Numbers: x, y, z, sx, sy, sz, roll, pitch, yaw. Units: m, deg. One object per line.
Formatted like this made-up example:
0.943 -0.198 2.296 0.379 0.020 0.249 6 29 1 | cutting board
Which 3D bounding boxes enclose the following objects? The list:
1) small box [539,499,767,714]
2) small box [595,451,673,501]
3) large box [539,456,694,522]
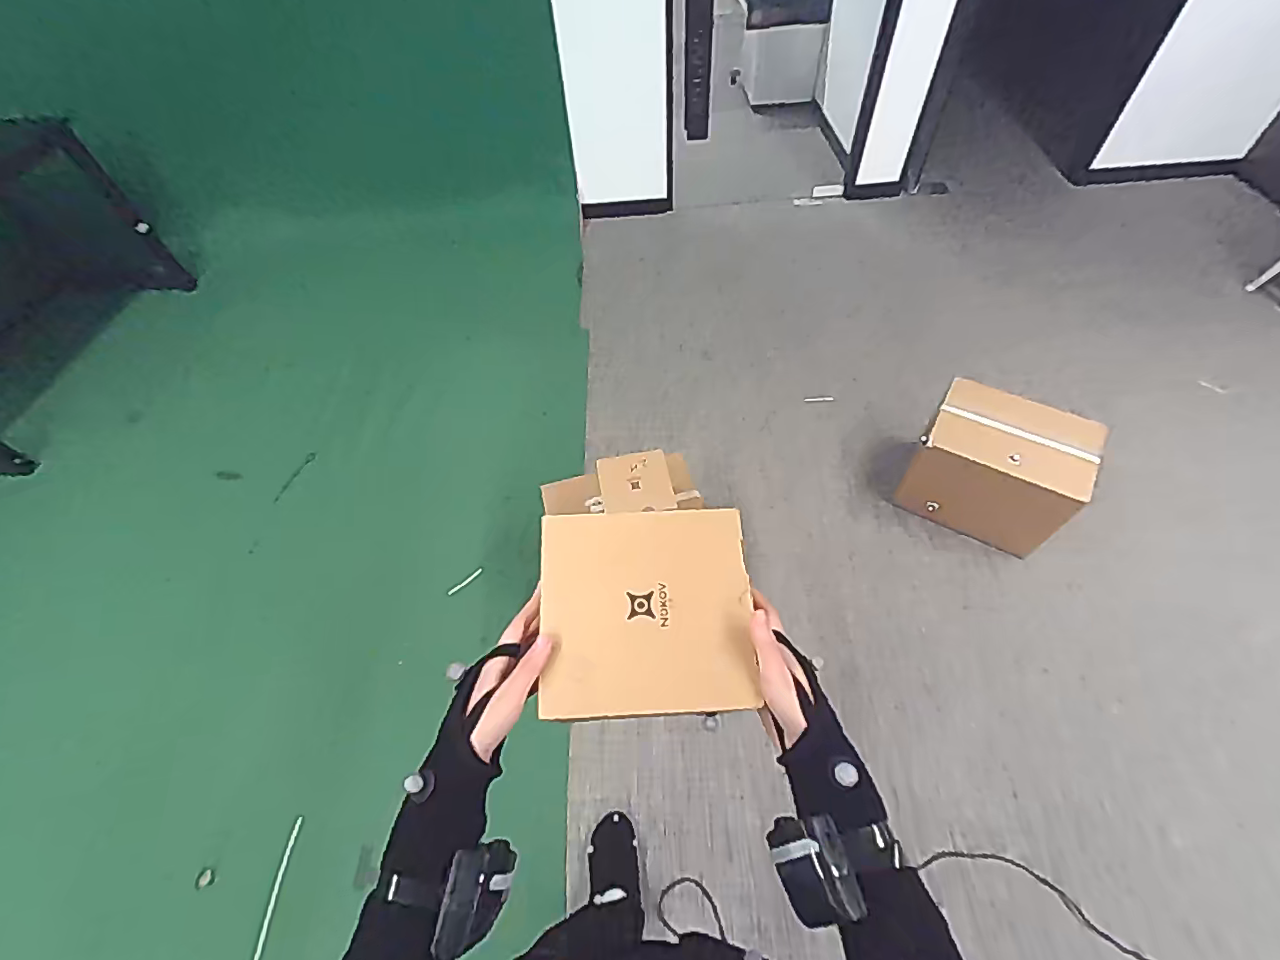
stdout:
0.005 0.126 0.511 0.179 0.176 0.168 -1 65 -4 | small box
-0.012 0.057 1.310 0.168 0.176 0.179 -9 54 -5 | small box
-0.035 0.186 1.524 0.408 0.320 0.320 -15 53 -6 | large box
